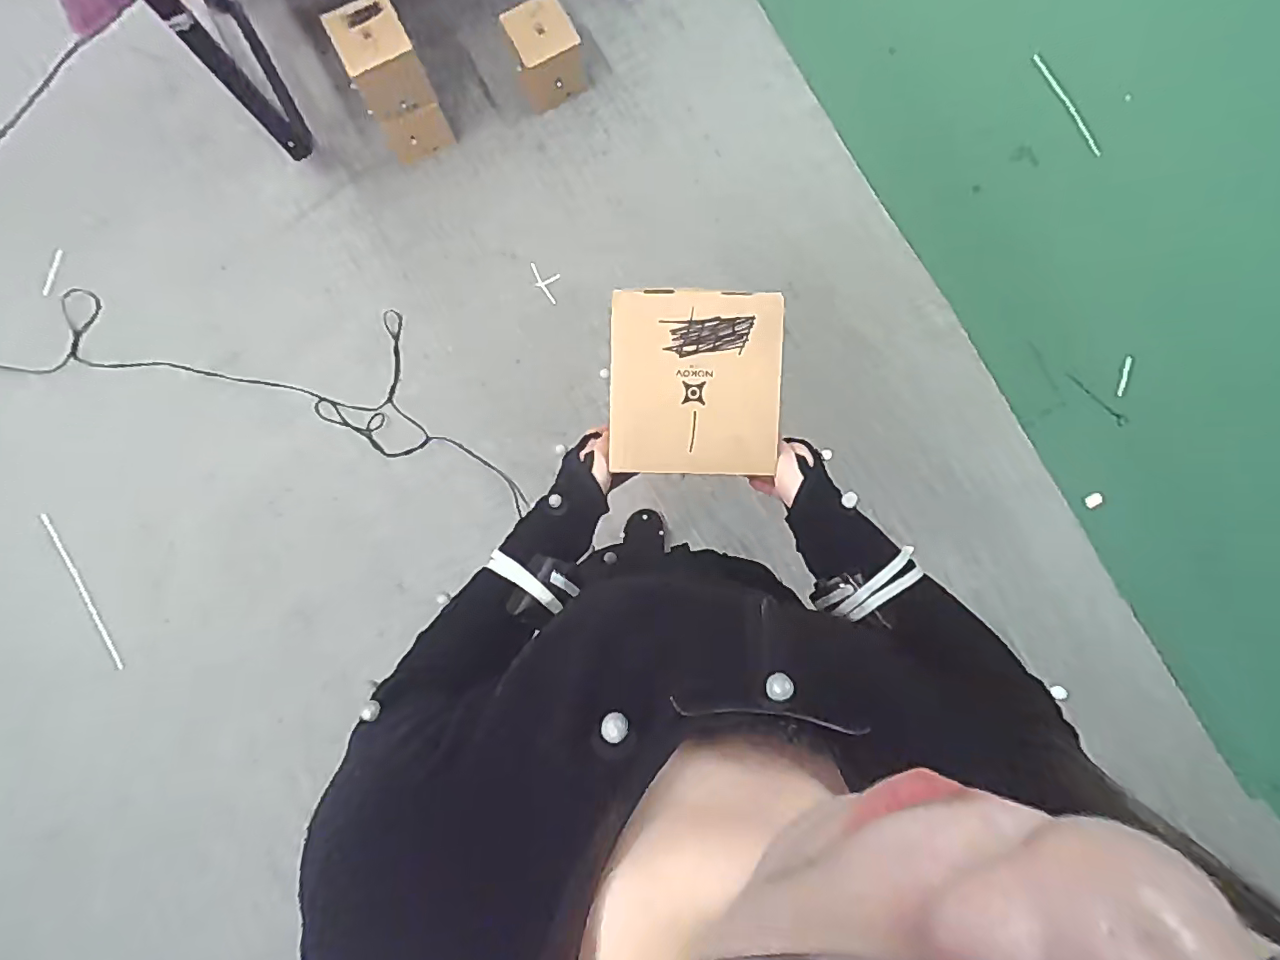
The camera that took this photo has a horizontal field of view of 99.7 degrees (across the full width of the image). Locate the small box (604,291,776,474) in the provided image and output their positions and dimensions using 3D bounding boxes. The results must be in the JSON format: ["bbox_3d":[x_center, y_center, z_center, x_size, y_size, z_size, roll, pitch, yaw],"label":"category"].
[{"bbox_3d":[0.048,-0.103,0.611,0.168,0.176,0.179,1,97,1],"label":"small box"}]
